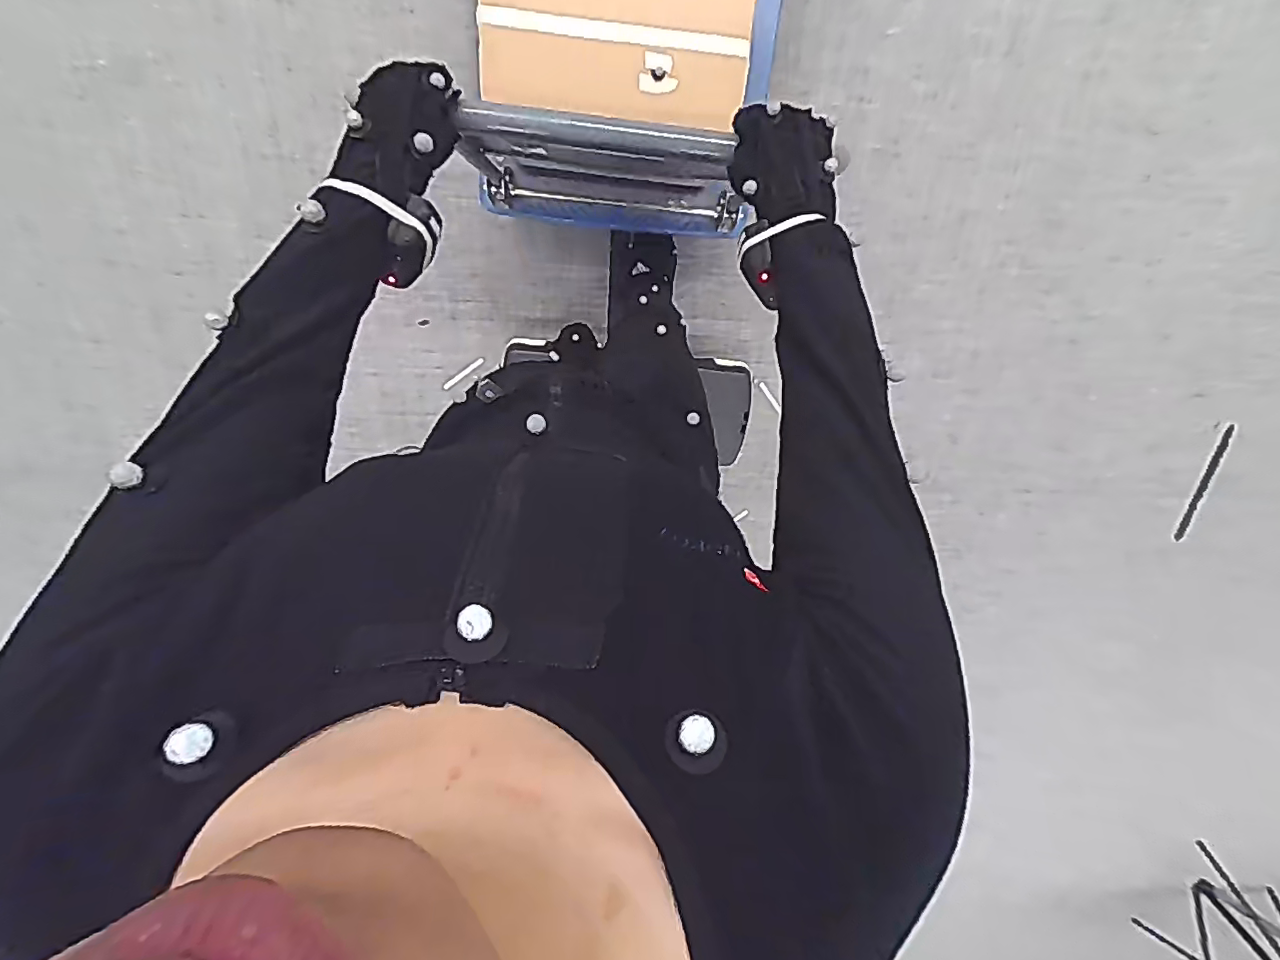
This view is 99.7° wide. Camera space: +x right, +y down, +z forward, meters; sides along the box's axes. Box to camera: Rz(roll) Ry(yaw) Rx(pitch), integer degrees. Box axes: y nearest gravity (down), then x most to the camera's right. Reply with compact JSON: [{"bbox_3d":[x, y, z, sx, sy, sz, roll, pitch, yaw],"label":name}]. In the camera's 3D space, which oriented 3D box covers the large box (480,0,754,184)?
[{"bbox_3d":[-0.045,-0.717,0.933,0.408,0.320,0.320,4,114,-5],"label":"large box"}]
